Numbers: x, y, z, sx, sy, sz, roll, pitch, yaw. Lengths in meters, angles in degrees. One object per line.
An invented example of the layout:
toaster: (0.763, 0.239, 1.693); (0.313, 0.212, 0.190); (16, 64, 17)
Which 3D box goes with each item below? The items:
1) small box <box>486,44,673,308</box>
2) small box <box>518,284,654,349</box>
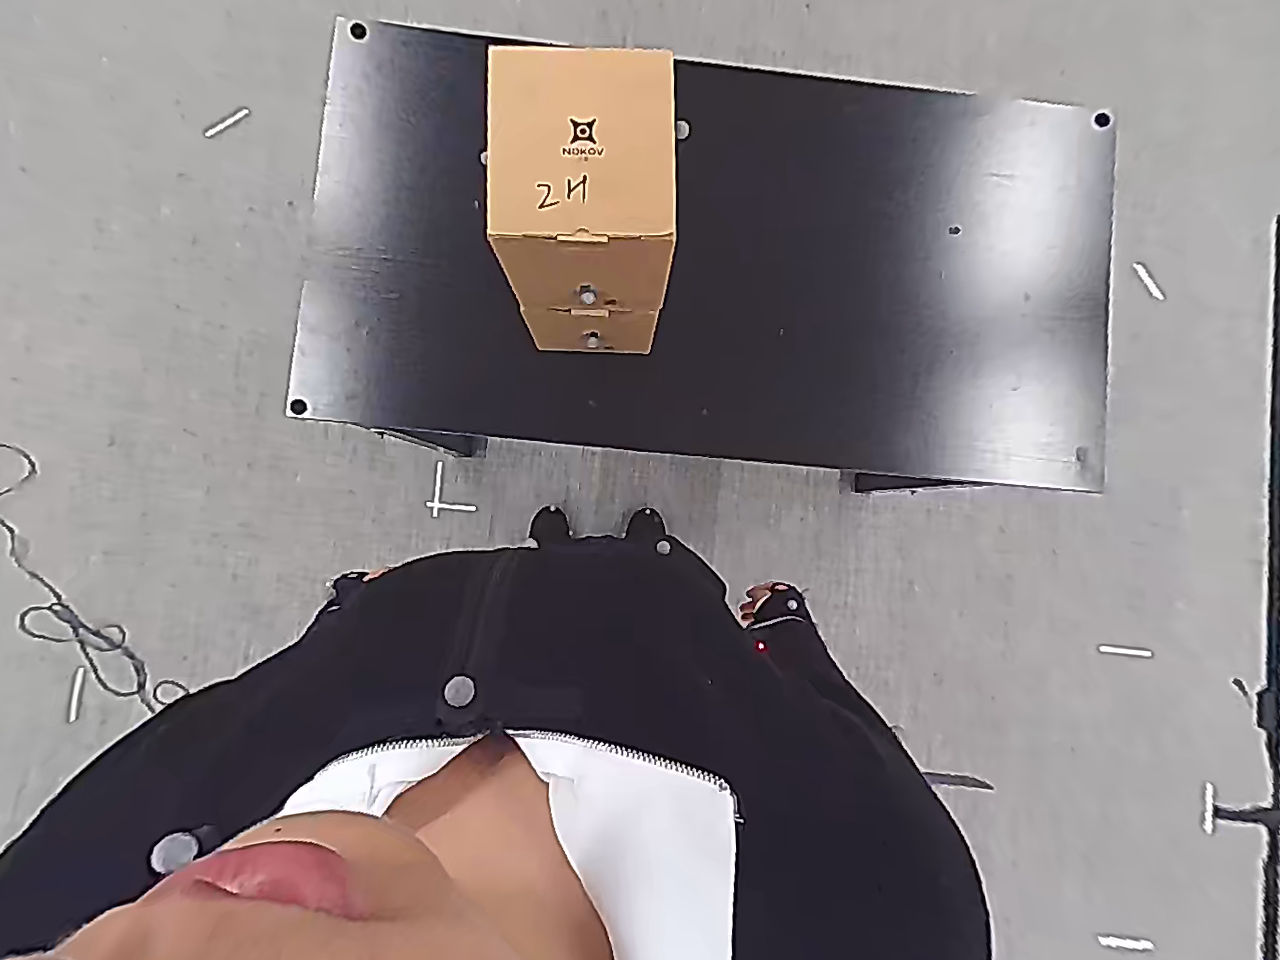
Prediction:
small box: (-0.055, -0.296, 0.559); (0.168, 0.176, 0.179); (0, 86, -2)
small box: (-0.063, -0.282, 0.724); (0.168, 0.176, 0.179); (1, 87, -2)
